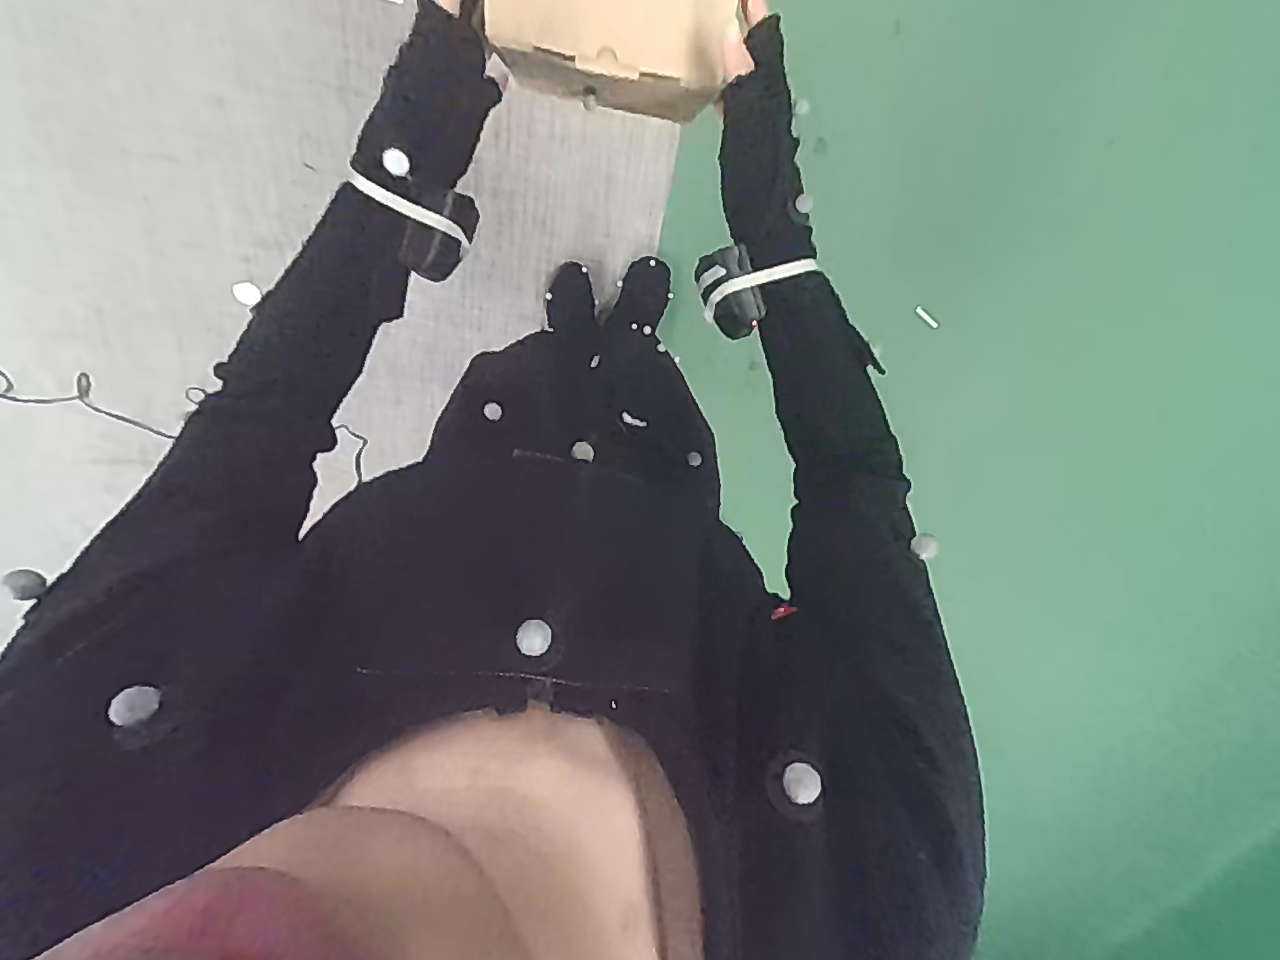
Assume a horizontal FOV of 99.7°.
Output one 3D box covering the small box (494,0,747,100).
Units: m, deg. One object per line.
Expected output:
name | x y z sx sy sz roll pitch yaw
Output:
small box | -0.007 -0.405 0.392 0.168 0.176 0.179 6 118 -7
